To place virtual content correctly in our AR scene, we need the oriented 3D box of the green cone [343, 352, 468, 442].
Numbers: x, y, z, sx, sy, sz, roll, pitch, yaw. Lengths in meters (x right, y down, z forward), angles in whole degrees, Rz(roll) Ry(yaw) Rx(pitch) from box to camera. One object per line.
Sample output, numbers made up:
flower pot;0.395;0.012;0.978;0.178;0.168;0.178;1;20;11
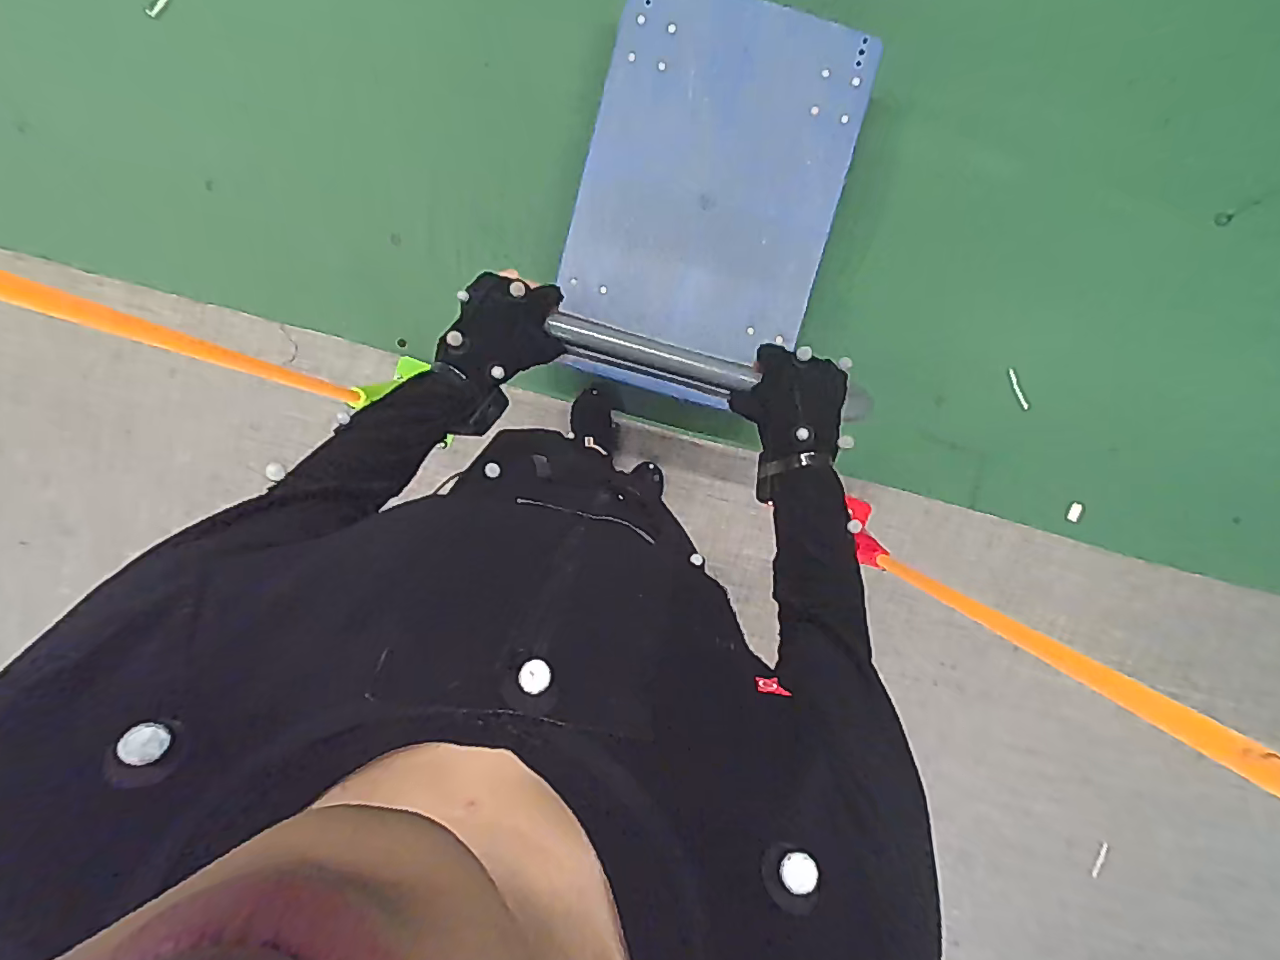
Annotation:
green cone;-0.580;-0.205;1.280;0.202;0.368;0.200;20;96;-1
